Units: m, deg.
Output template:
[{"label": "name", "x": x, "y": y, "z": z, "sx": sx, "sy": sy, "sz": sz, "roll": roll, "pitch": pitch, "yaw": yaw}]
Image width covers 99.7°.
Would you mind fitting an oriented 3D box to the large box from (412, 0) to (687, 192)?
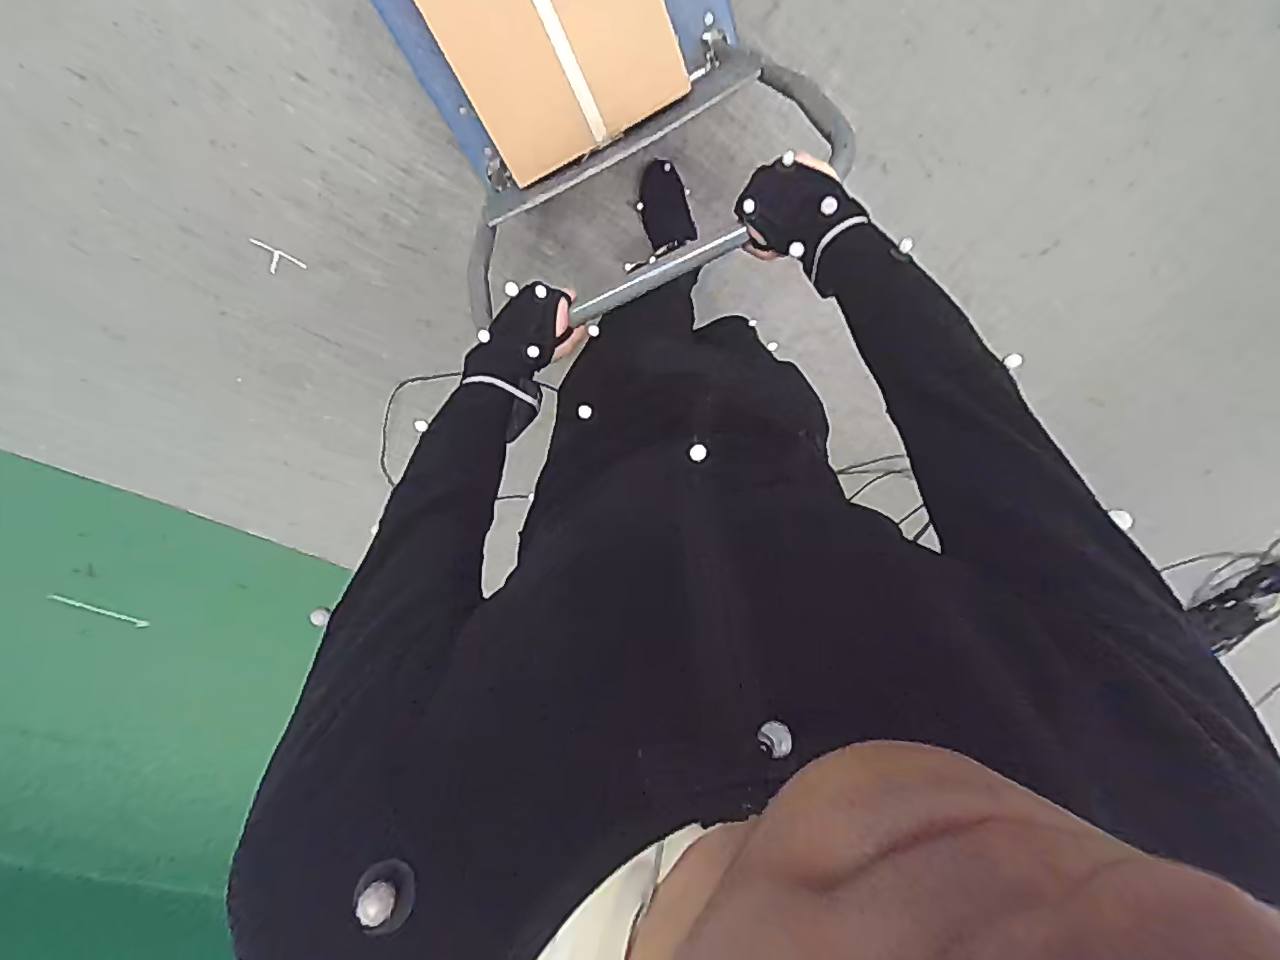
[{"label": "large box", "x": -0.154, "y": -0.770, "z": 0.880, "sx": 0.320, "sy": 0.320, "sz": 0.408, "roll": -22, "pitch": 128, "yaw": 13}]
